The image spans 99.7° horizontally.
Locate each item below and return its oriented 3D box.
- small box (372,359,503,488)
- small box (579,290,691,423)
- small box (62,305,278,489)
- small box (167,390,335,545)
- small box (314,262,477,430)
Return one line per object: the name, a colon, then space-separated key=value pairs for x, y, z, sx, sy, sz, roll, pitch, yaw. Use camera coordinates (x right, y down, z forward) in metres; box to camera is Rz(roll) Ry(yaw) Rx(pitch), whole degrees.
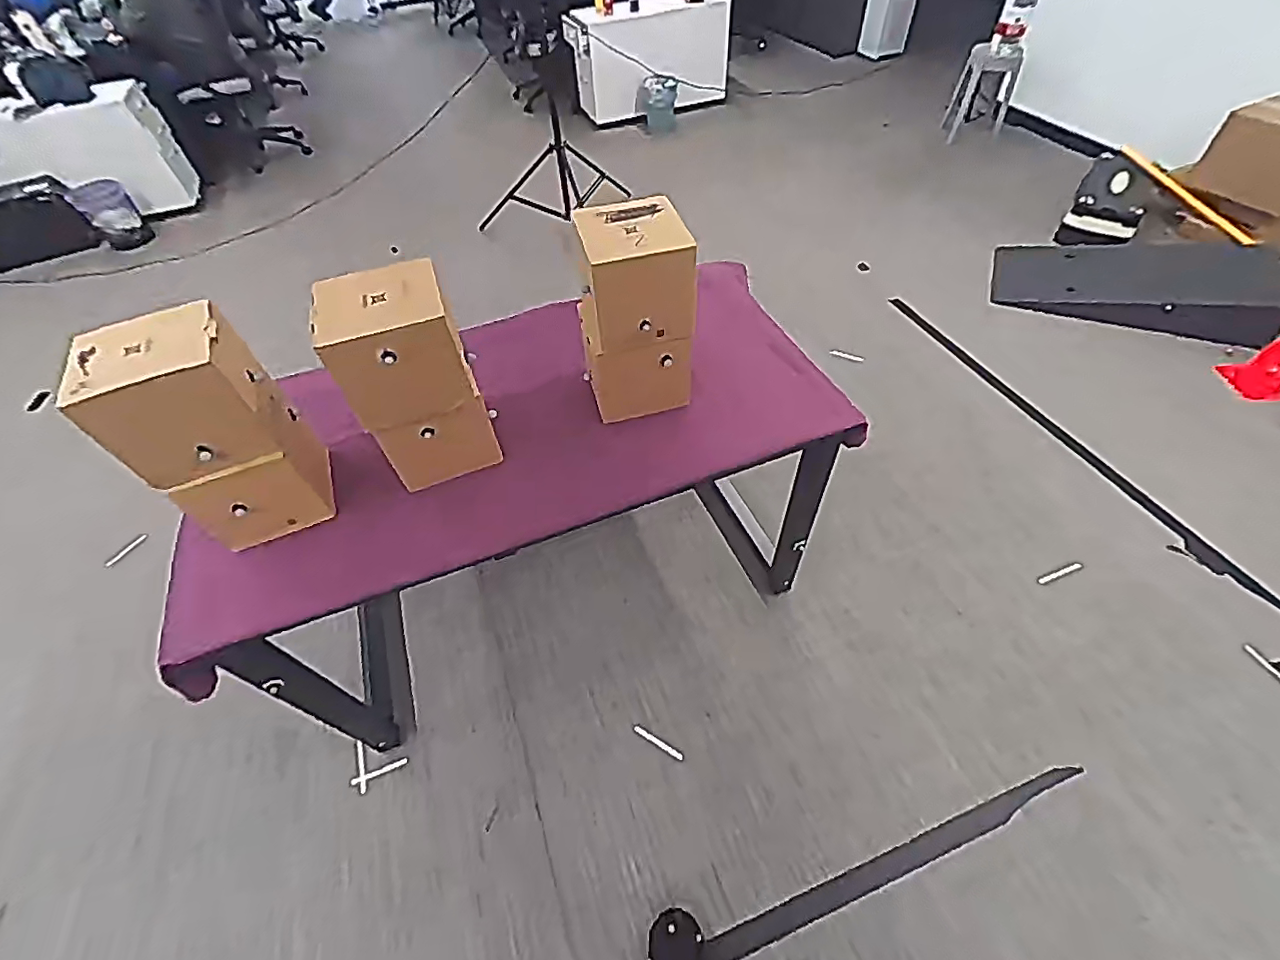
small box: x=-0.365 y=-0.111 z=0.965 sx=0.179 sy=0.176 sz=0.168 roll=-20 pitch=53 yaw=-13
small box: x=-0.010 y=-0.235 z=1.039 sx=0.179 sy=0.176 sz=0.168 roll=-13 pitch=51 yaw=-6
small box: x=-0.653 y=-0.118 z=0.781 sx=0.179 sy=0.176 sz=0.168 roll=-23 pitch=53 yaw=-15
small box: x=-0.637 y=-0.013 z=0.906 sx=0.168 sy=0.176 sz=0.179 roll=-22 pitch=53 yaw=-13
small box: x=-0.369 y=-0.201 z=0.830 sx=0.179 sy=0.176 sz=0.168 roll=-18 pitch=54 yaw=-12
